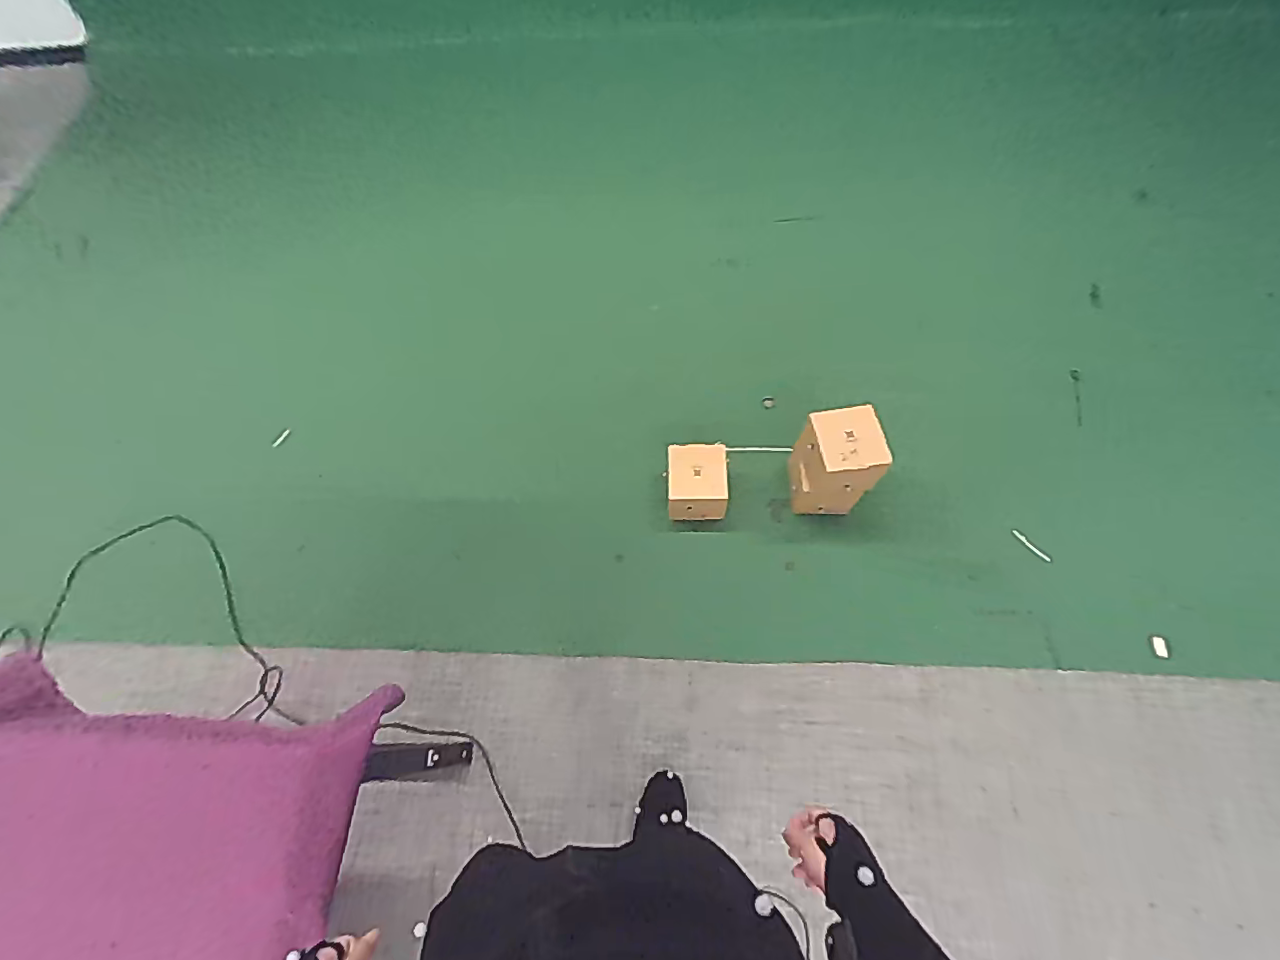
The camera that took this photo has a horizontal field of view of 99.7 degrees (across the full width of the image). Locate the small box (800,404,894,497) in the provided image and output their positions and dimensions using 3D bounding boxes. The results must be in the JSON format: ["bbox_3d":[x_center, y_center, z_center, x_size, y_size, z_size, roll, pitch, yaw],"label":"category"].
[{"bbox_3d":[0.536,-0.074,1.431,0.168,0.176,0.179,-9,65,1],"label":"small box"}]

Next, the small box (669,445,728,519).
[{"bbox_3d":[0.172,0.011,1.602,0.168,0.176,0.179,-1,64,4],"label":"small box"}]
